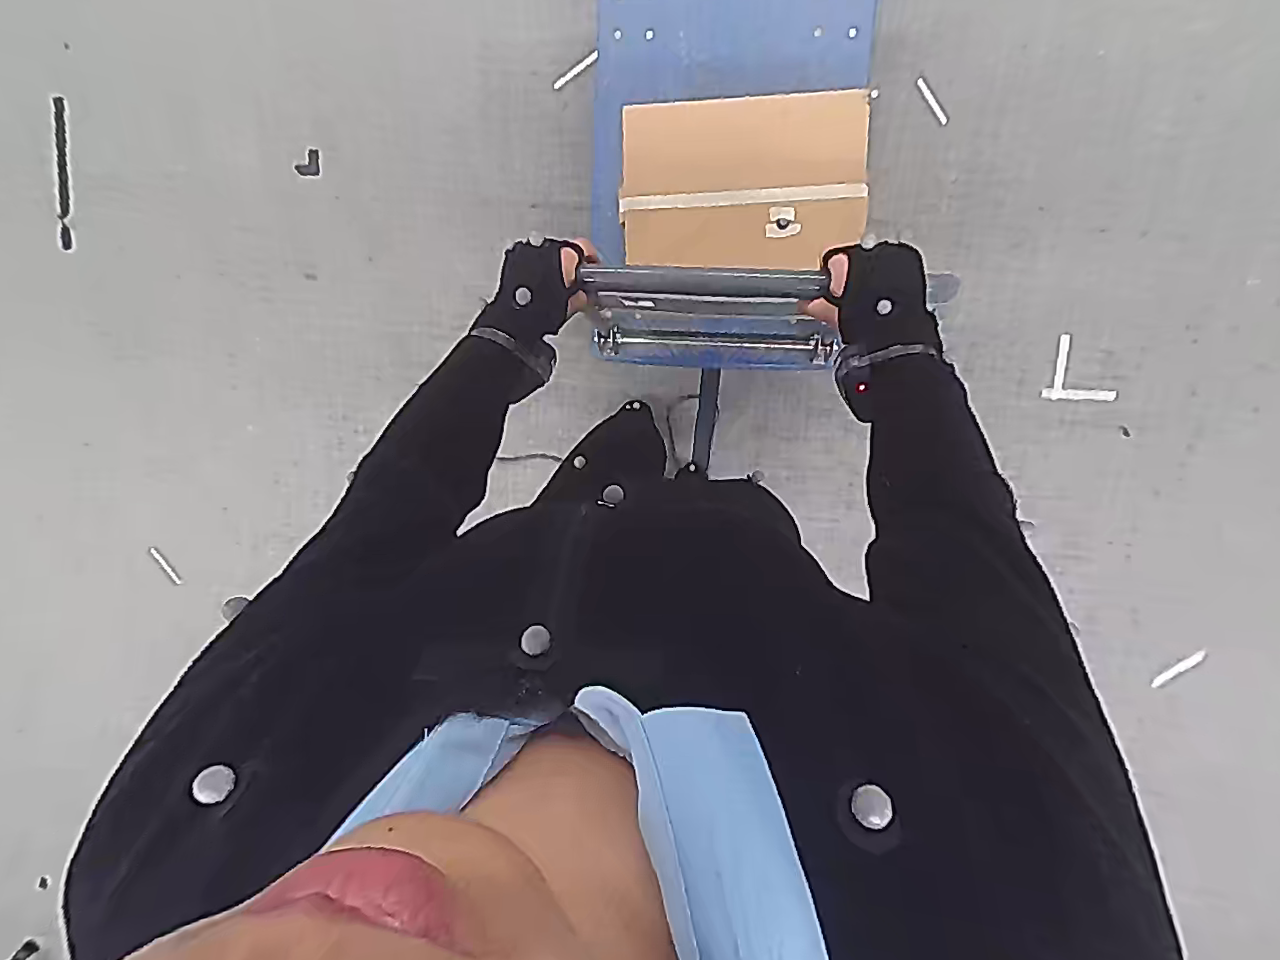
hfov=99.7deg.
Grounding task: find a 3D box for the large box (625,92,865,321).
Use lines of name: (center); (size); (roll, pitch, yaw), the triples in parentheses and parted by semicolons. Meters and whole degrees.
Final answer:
large box: (0.188, -0.505, 1.074); (0.408, 0.320, 0.320); (0, 99, 5)
